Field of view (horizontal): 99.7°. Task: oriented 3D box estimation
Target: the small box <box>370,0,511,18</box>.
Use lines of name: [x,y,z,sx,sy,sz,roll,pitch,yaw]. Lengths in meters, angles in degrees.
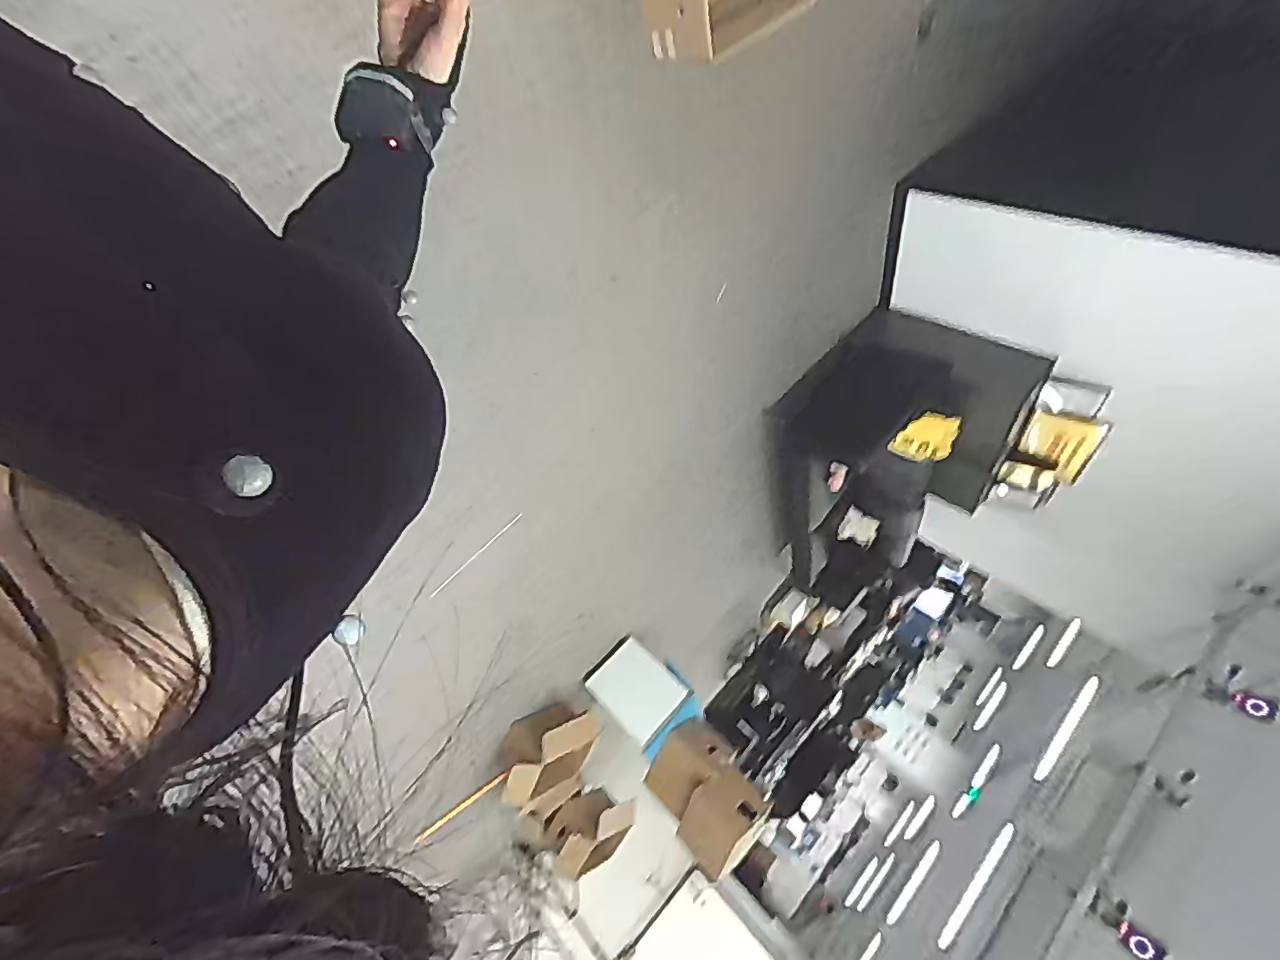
small box: [-0.136,-0.427,0.336,0.168,0.179,0.176,-47,138,-49]
